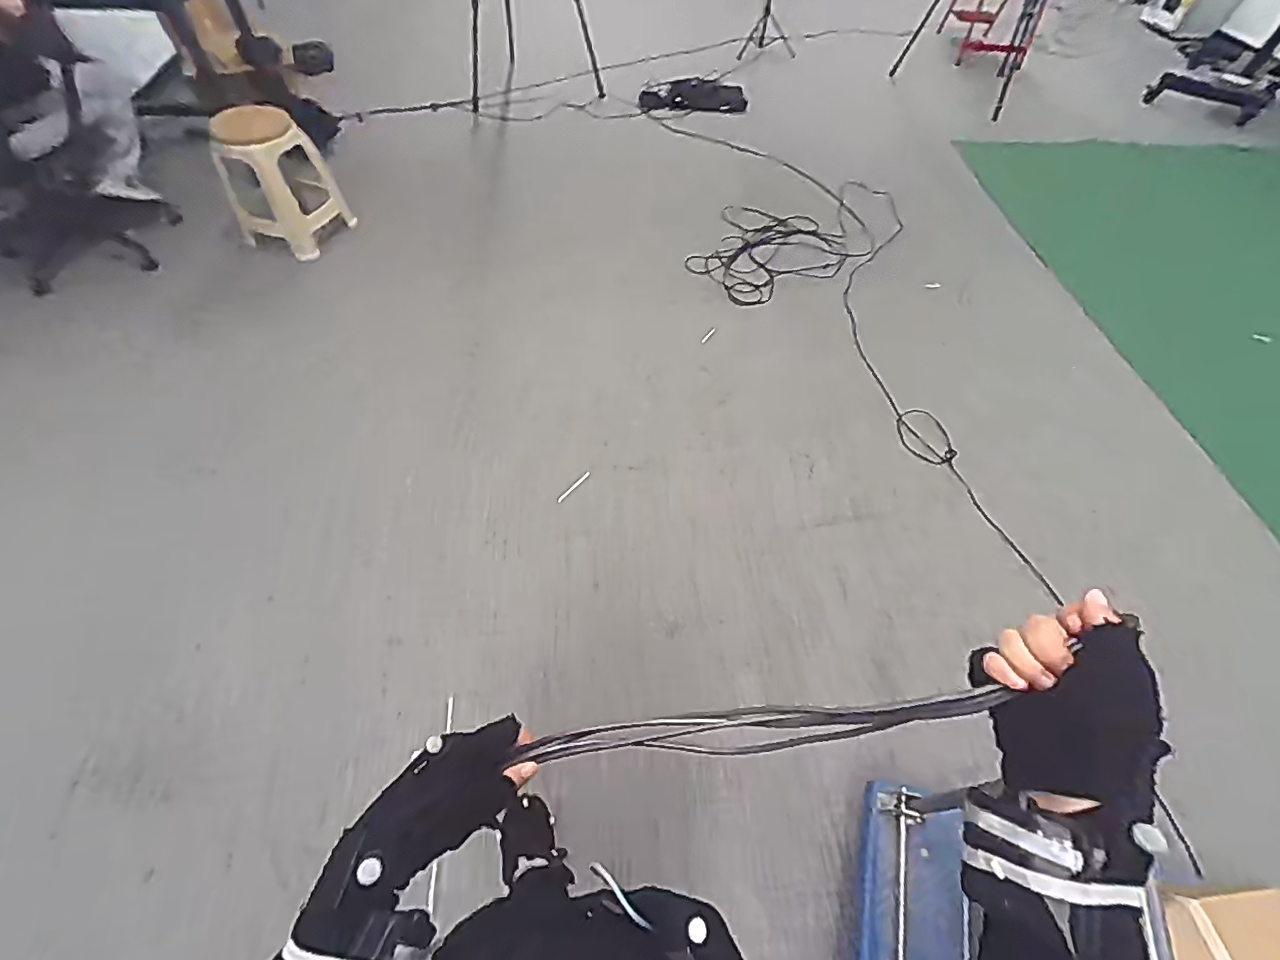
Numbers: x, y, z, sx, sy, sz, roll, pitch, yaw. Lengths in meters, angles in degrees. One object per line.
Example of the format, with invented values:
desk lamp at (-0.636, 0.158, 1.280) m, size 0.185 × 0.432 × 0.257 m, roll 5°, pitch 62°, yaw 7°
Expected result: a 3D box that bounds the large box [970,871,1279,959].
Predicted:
large box at (0.798, 0.855, 0.816) m, size 0.320 × 0.320 × 0.408 m, roll -3°, pitch 55°, yaw -4°
